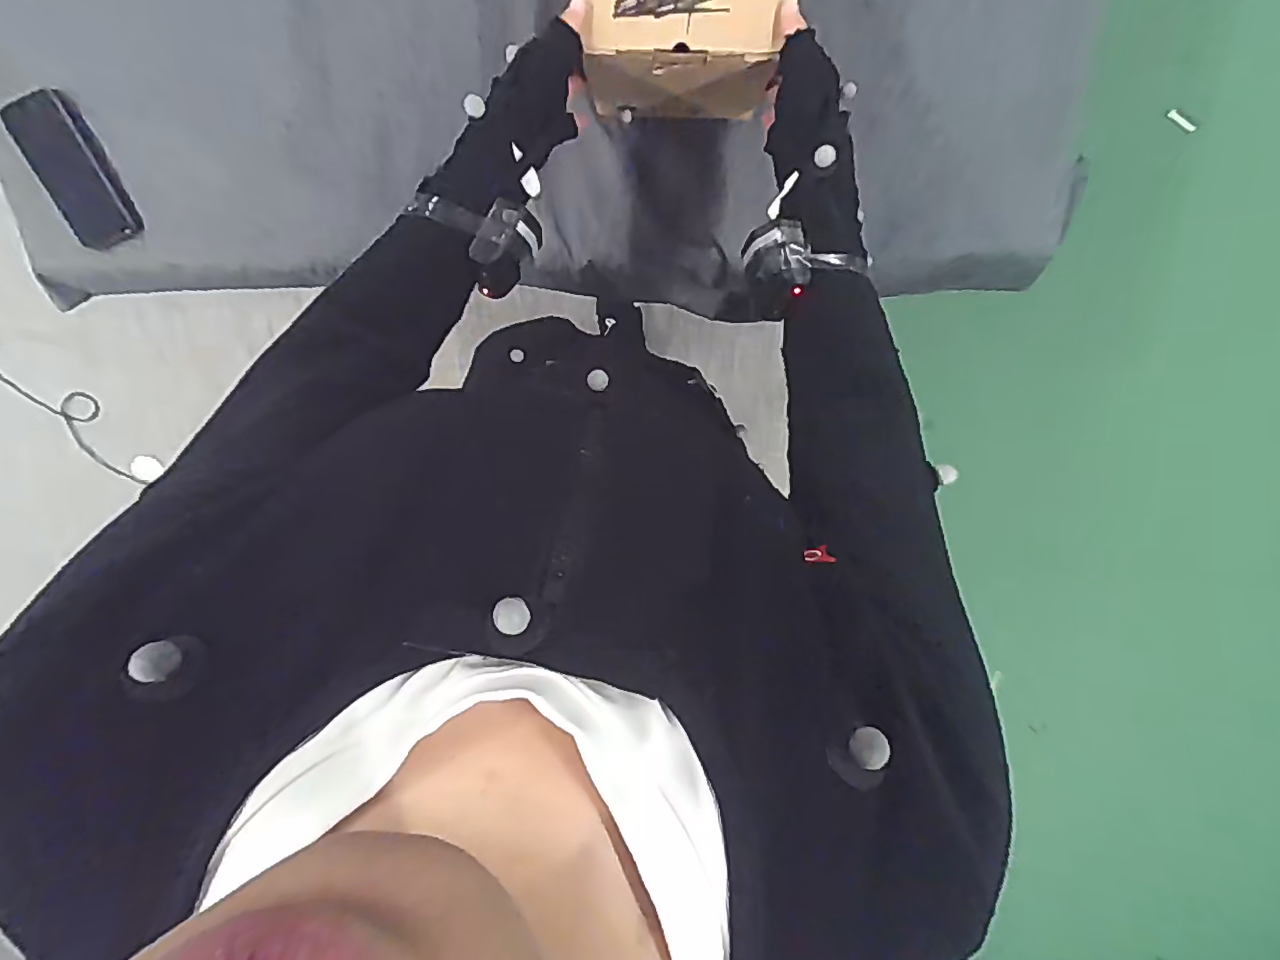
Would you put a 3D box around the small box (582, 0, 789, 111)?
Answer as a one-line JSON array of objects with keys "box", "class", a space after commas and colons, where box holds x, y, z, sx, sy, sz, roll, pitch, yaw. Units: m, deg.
[{"box": [0.041, -0.453, 0.481, 0.168, 0.176, 0.179, 2, 109, 0], "class": "small box"}]
